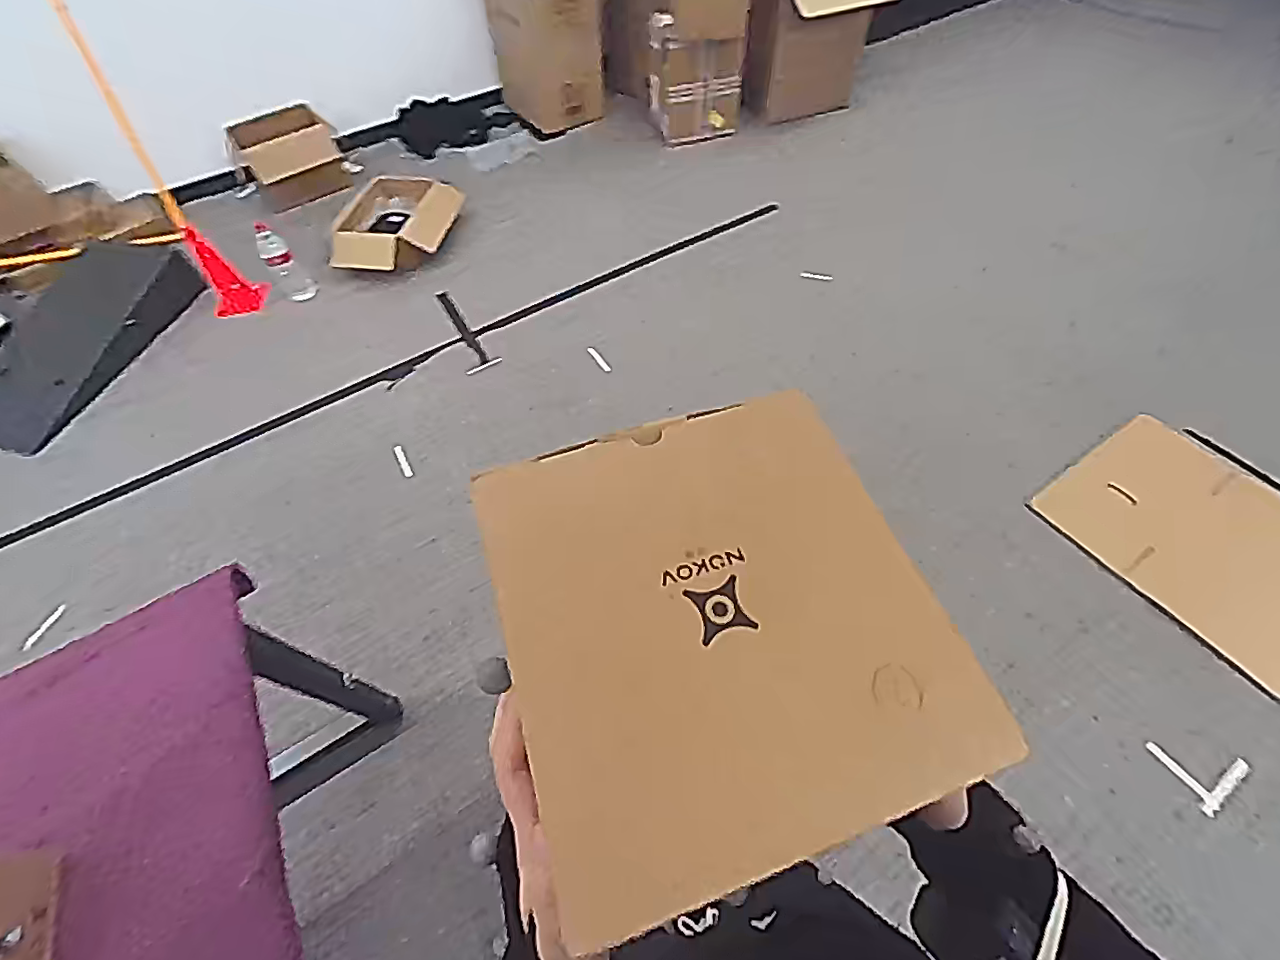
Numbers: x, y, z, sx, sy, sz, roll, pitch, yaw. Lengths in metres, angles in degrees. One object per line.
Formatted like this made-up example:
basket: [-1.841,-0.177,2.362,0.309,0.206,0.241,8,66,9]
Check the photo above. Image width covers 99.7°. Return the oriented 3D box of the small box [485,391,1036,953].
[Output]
small box: [0.033,0.088,0.279,0.168,0.176,0.179,-15,60,-10]

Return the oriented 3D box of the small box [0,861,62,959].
small box: [-0.722,0.490,0.506,0.179,0.176,0.168,-24,59,-12]
